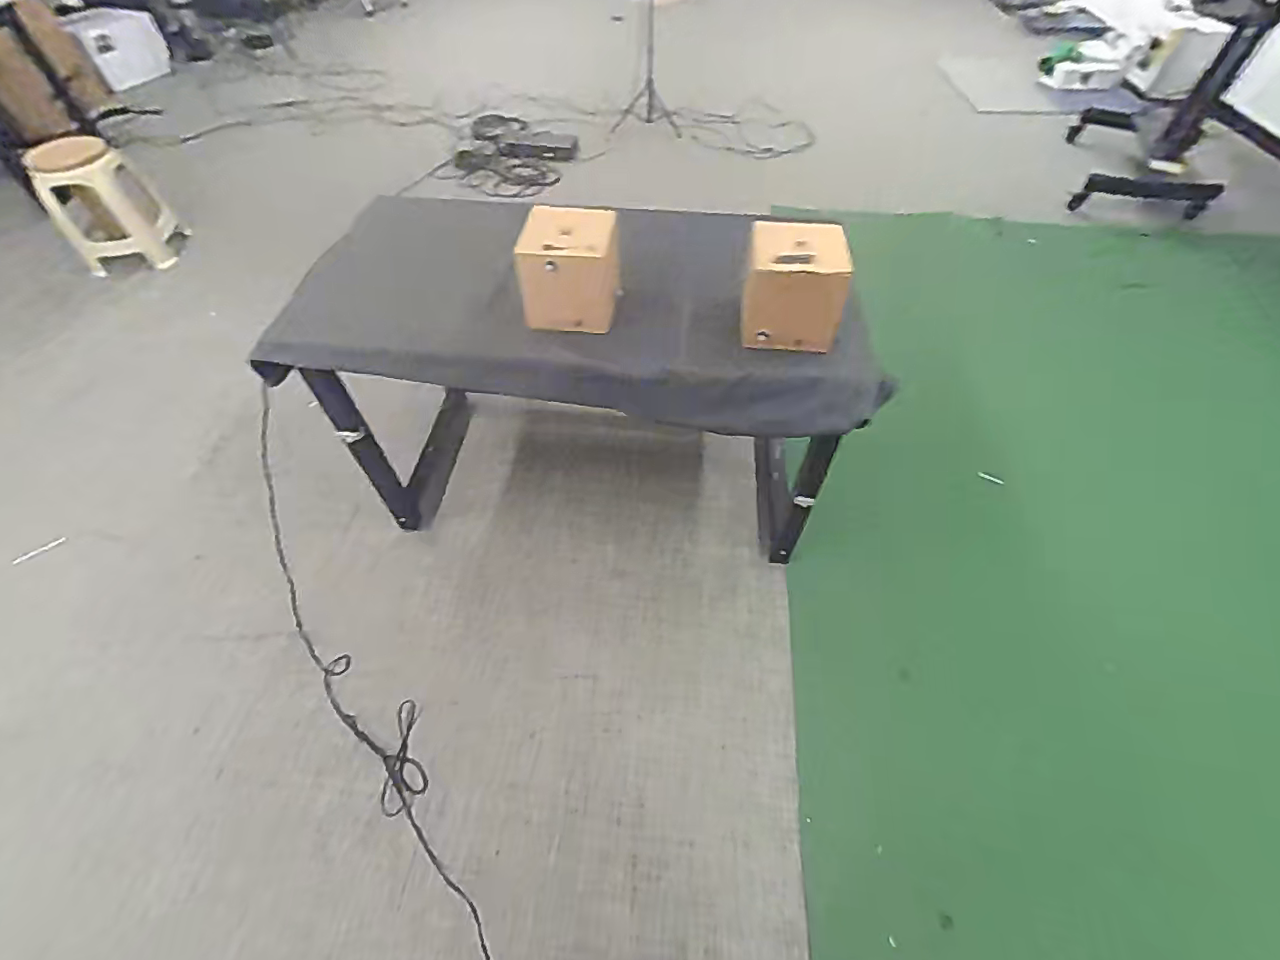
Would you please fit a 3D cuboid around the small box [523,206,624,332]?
[{"bbox_3d":[-0.123,-0.422,1.084,0.168,0.176,0.179,5,52,4],"label":"small box"}]

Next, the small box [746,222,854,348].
[{"bbox_3d":[0.300,-0.373,1.043,0.168,0.176,0.179,5,51,5],"label":"small box"}]
